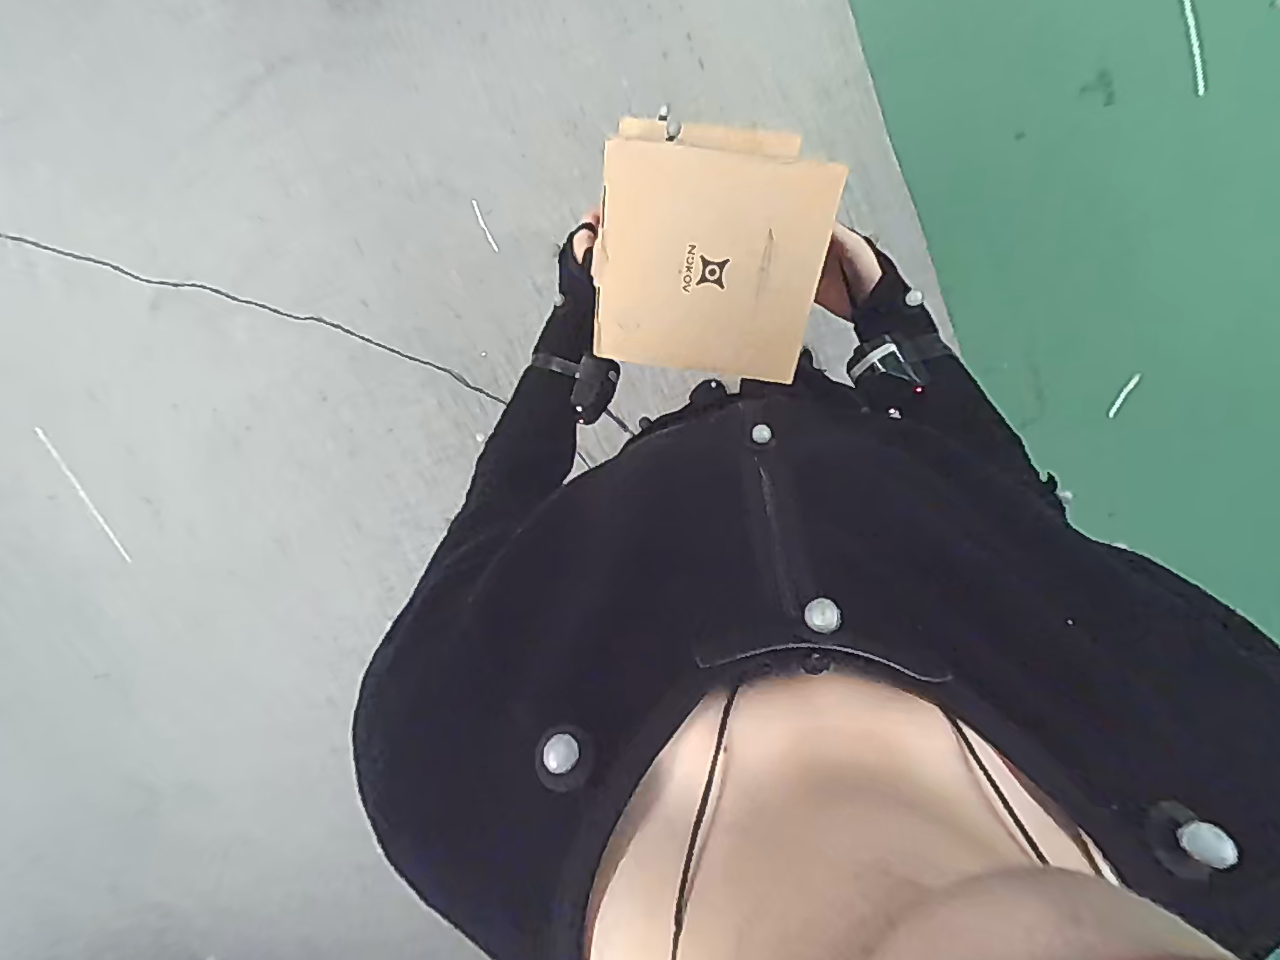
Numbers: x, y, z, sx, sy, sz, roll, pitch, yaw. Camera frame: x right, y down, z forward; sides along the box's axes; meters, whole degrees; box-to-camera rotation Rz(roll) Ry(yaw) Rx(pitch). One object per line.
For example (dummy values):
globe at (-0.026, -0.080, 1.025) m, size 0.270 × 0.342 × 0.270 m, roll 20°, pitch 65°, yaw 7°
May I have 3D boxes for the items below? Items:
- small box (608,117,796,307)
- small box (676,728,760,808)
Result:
small box at (0.063, -0.307, 0.617) m, size 0.179 × 0.176 × 0.168 m, roll 6°, pitch 121°, yaw 4°
small box at (0.204, 0.794, 1.444) m, size 0.168 × 0.176 × 0.179 m, roll -24°, pitch 100°, yaw 10°
